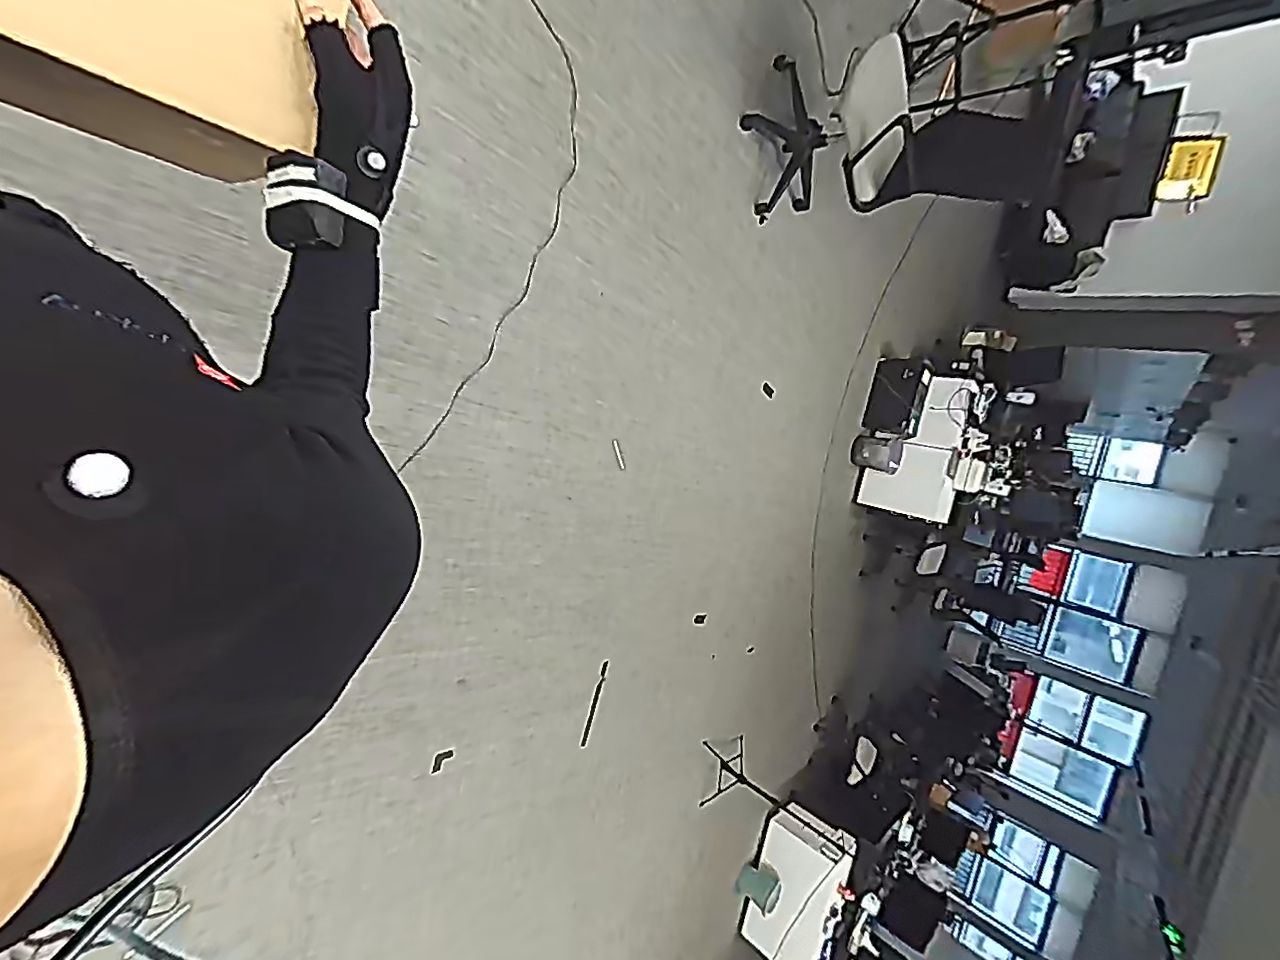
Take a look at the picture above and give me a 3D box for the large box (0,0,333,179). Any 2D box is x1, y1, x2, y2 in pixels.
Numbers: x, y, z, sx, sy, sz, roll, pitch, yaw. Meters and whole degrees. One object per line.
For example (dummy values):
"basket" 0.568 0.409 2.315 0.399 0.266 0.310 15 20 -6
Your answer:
"large box" -0.480 -0.460 0.374 0.408 0.320 0.320 2 106 -50
